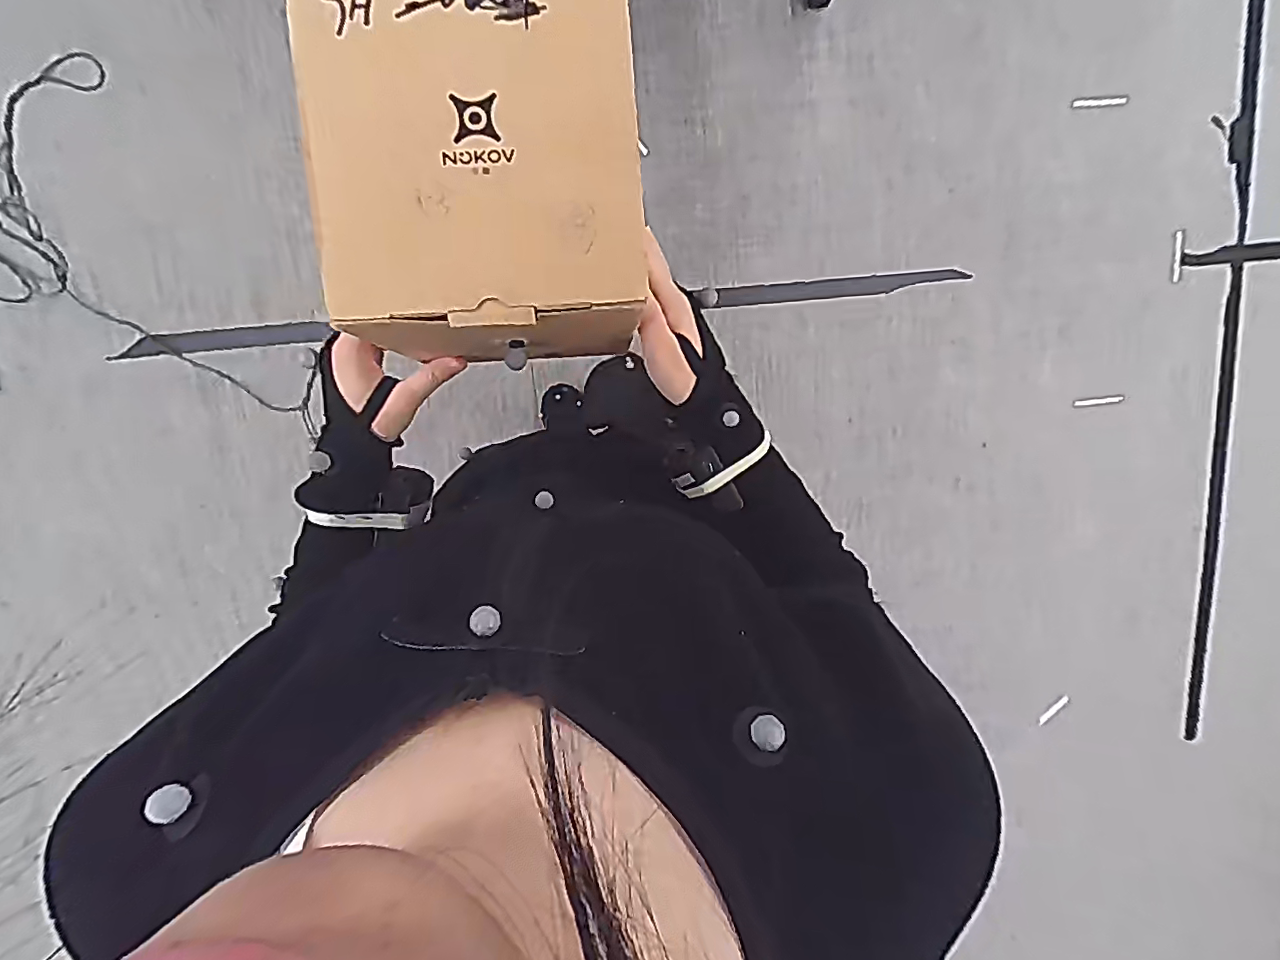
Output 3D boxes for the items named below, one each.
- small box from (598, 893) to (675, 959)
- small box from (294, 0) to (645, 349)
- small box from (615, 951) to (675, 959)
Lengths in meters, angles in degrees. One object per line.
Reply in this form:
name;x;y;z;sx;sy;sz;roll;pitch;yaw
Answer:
small box;-0.006;1.160;1.324;0.179;0.176;0.168;-8;100;-4
small box;-0.088;-0.182;0.350;0.168;0.176;0.179;-4;96;-5
small box;0.014;1.180;1.164;0.168;0.176;0.179;-7;99;-5
